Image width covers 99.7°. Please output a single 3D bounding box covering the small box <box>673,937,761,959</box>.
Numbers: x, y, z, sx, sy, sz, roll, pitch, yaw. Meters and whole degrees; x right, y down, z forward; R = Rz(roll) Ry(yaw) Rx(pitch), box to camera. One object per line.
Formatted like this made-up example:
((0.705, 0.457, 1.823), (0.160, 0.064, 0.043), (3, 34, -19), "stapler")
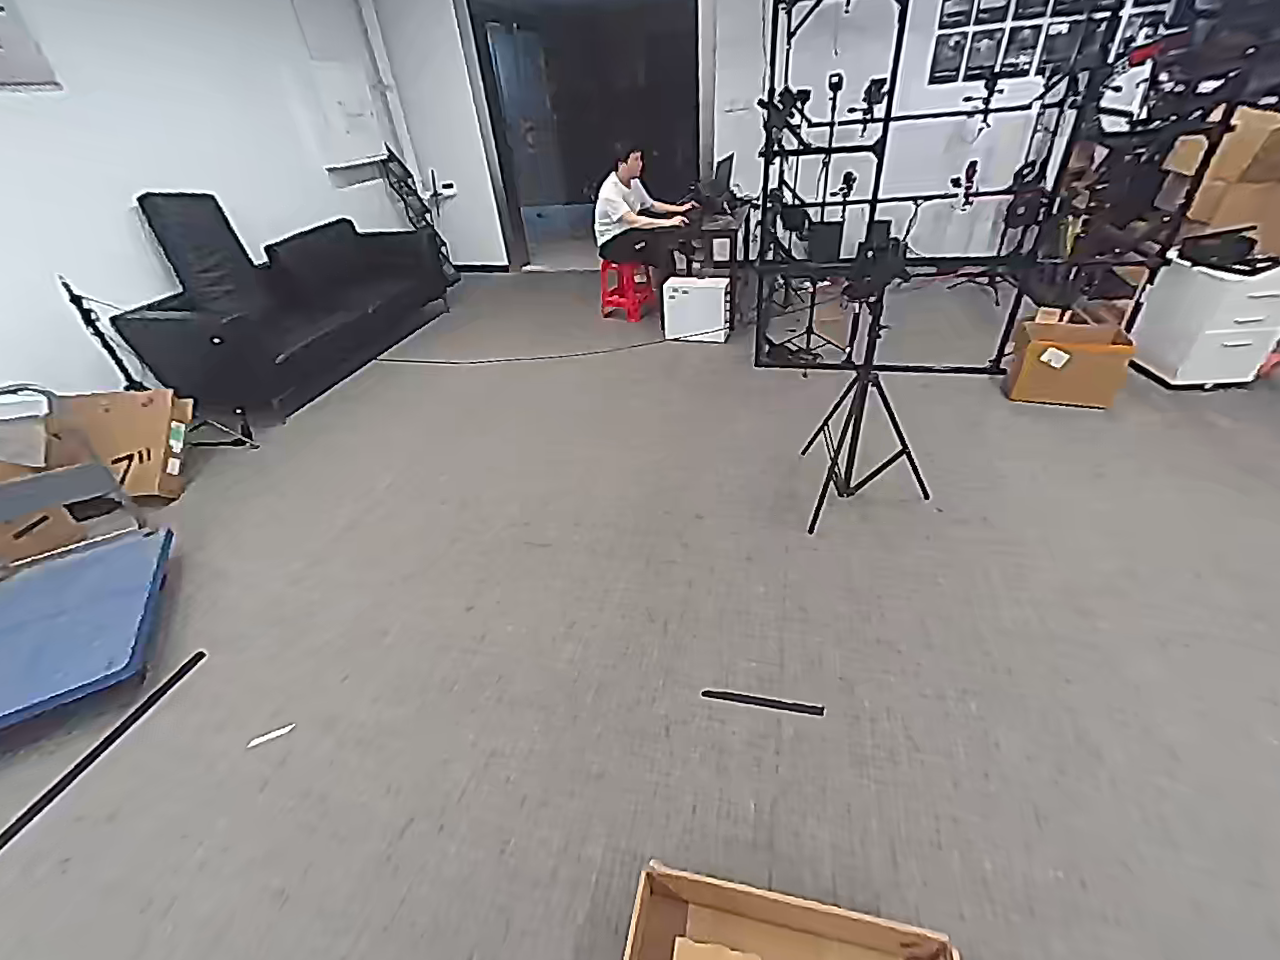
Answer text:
((0.137, 1.001, 1.005), (0.168, 0.176, 0.179), (4, 37, 11), "small box")
